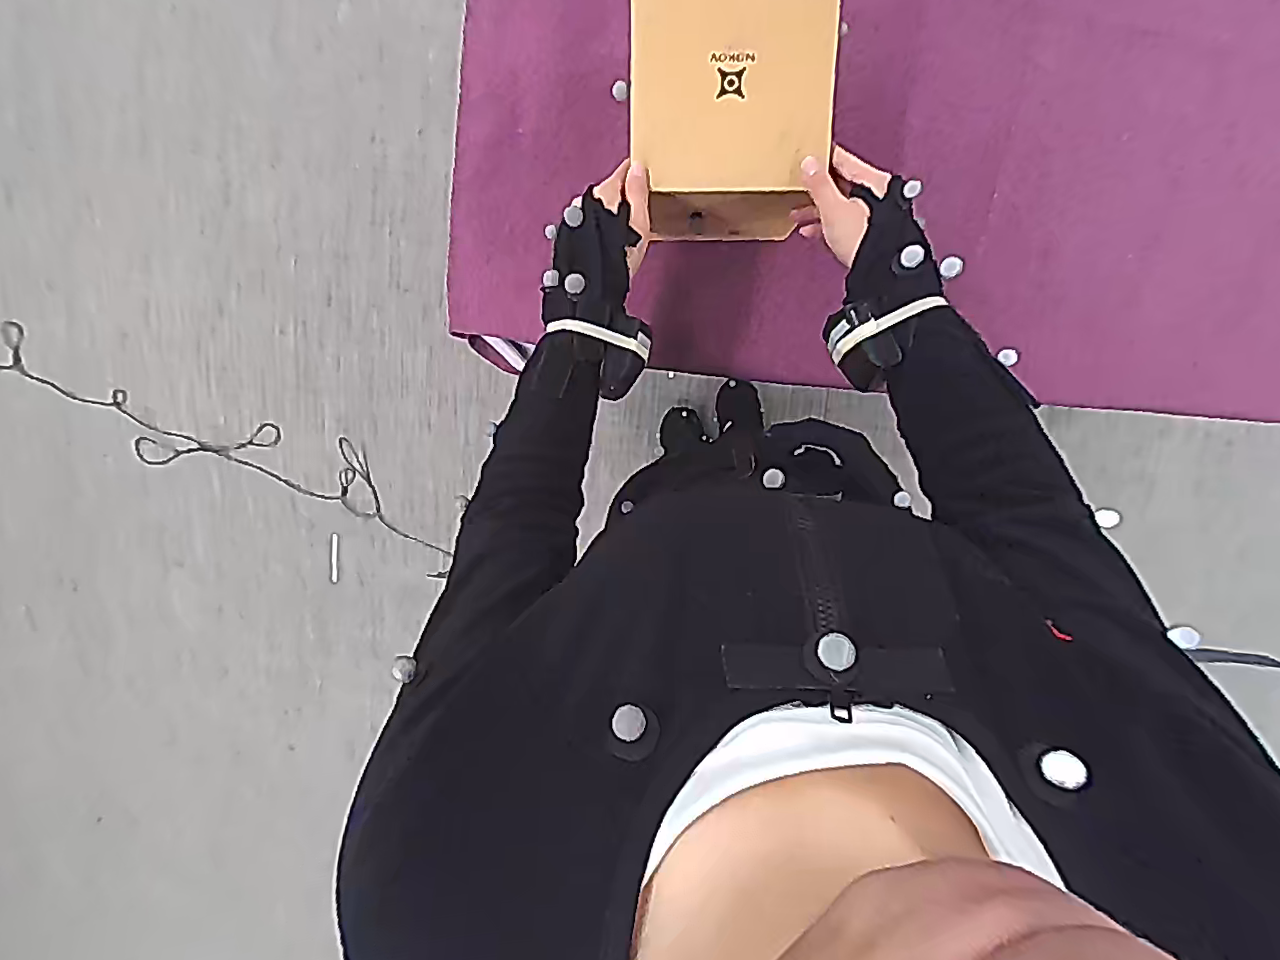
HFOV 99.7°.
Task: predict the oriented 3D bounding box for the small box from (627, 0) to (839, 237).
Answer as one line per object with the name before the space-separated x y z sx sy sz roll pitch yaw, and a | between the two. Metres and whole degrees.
small box | 0.078 -0.340 0.513 0.168 0.176 0.179 1 100 3
